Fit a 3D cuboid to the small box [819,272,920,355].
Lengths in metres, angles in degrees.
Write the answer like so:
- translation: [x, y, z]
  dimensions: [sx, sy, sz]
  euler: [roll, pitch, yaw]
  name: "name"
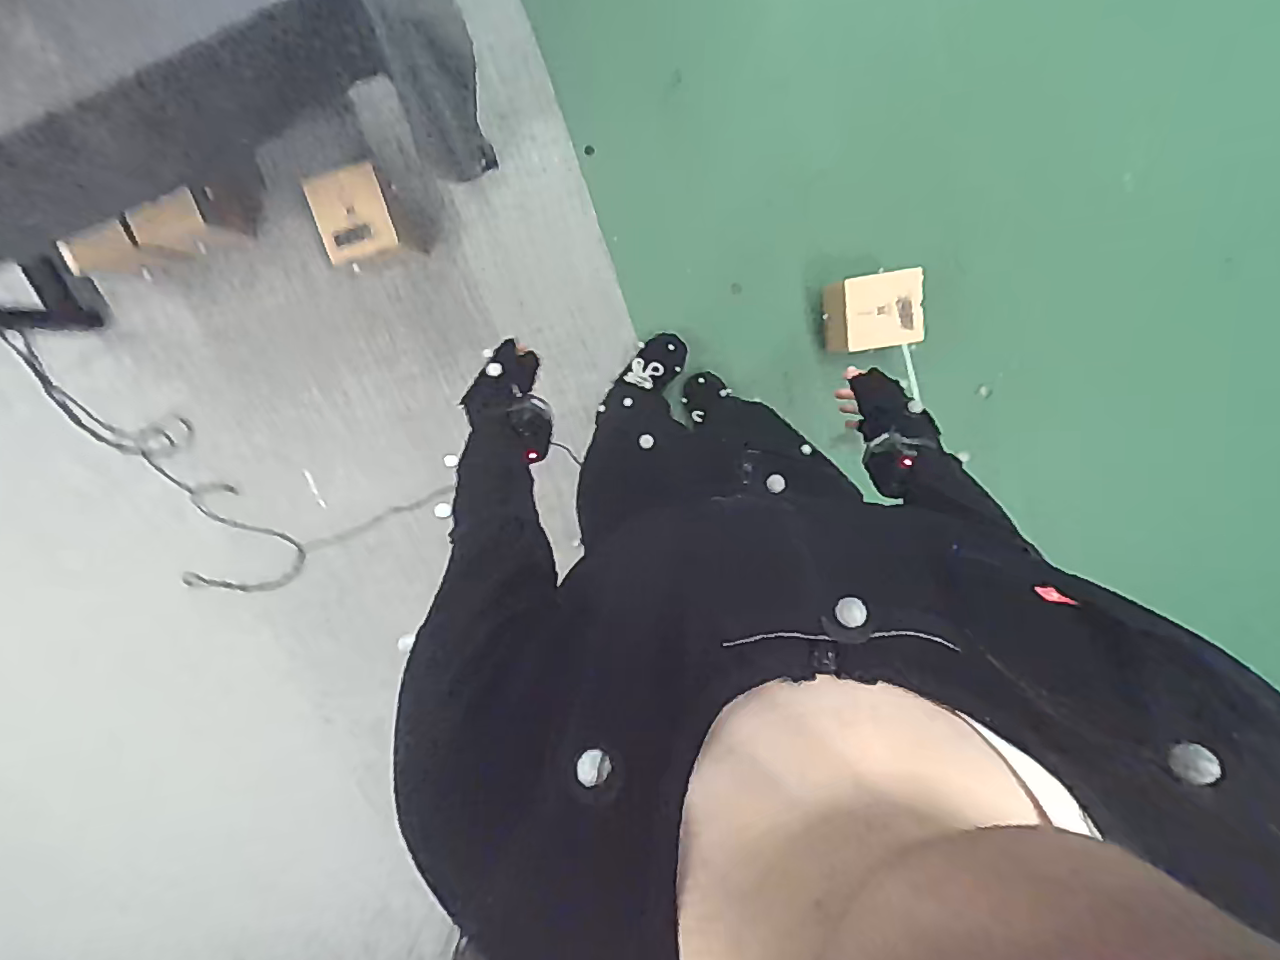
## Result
- translation: [0.550, -0.399, 1.309]
  dimensions: [0.179, 0.176, 0.168]
  euler: [-8, 103, 3]
  name: "small box"
